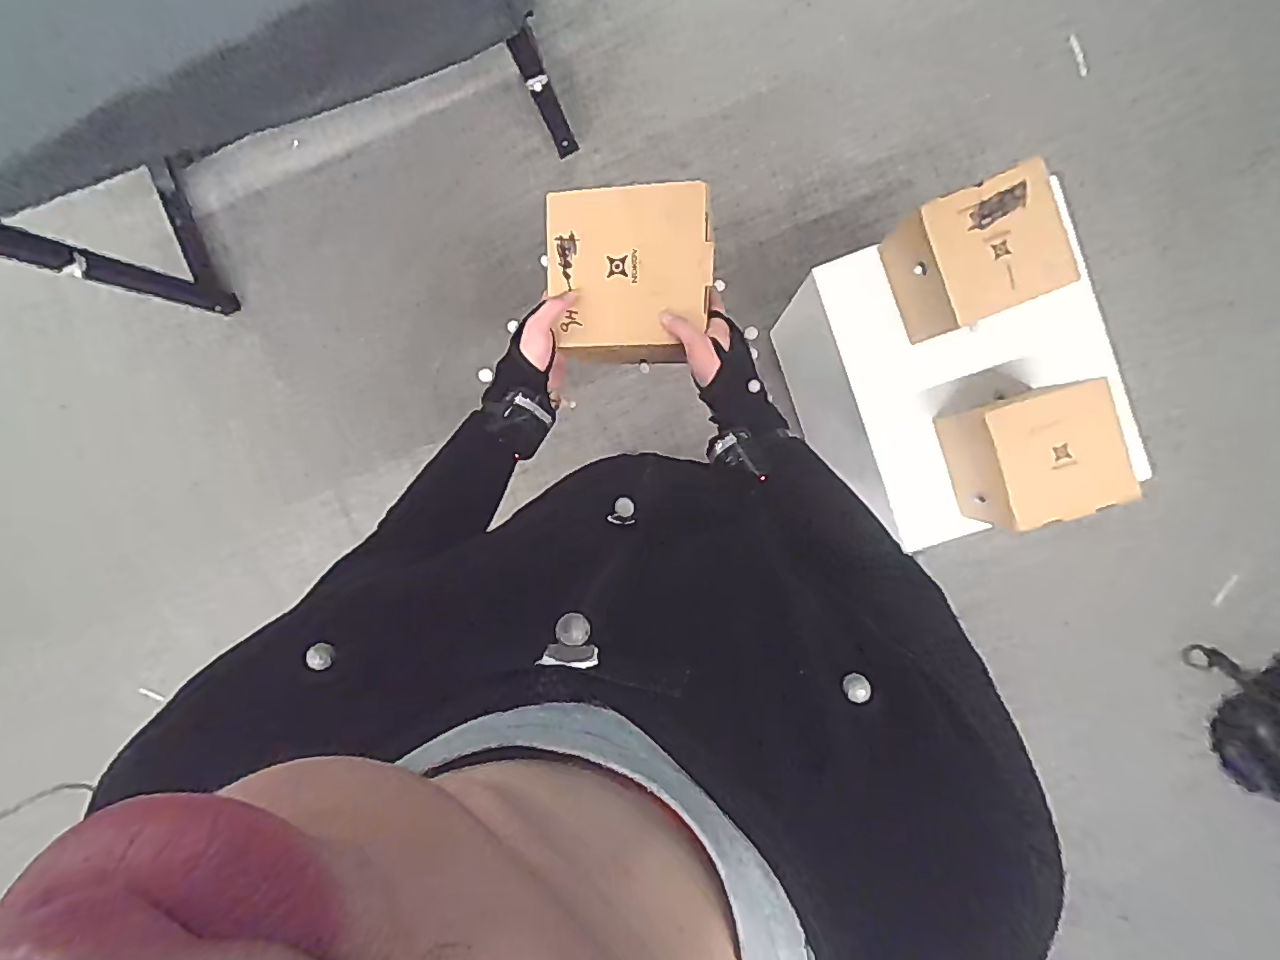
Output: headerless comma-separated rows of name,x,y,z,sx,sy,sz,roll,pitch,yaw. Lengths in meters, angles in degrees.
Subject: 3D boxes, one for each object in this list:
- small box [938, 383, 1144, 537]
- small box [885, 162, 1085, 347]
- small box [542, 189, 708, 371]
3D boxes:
small box,0.580,-0.030,0.806,0.168,0.176,0.179,-17,91,7
small box,0.487,-0.314,0.793,0.168,0.176,0.179,-20,94,8
small box,-0.008,-0.225,0.649,0.179,0.176,0.168,1,94,9
